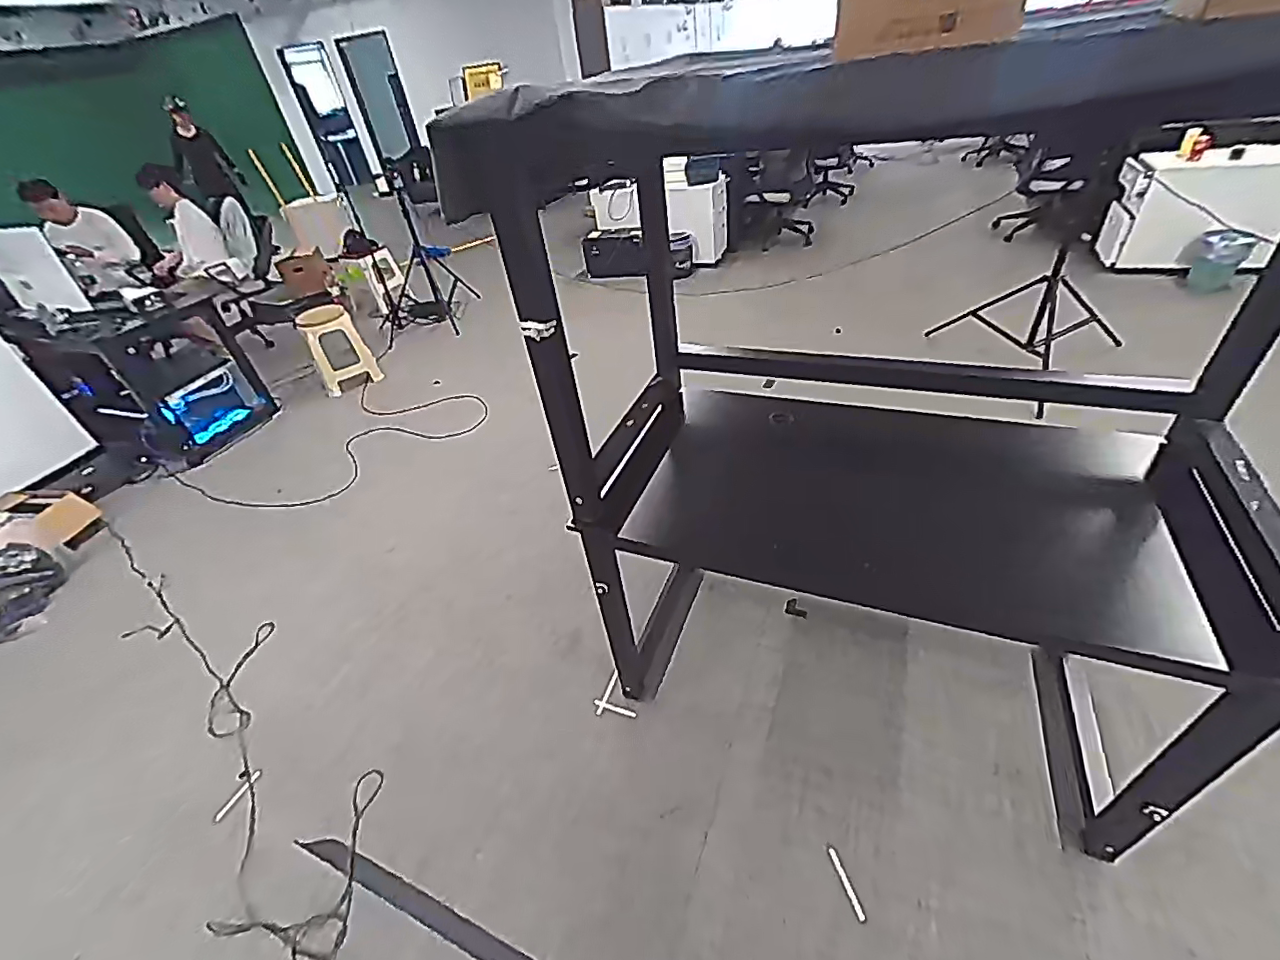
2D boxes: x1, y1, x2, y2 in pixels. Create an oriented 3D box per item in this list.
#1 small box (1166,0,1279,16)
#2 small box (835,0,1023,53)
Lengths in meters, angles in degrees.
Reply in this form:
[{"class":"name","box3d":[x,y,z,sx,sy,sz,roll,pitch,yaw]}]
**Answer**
[{"class":"small box","box3d":[0.572,-0.491,0.428,0.168,0.176,0.179,13,42,25]},{"class":"small box","box3d":[0.296,-0.537,0.535,0.168,0.176,0.179,10,40,23]}]
